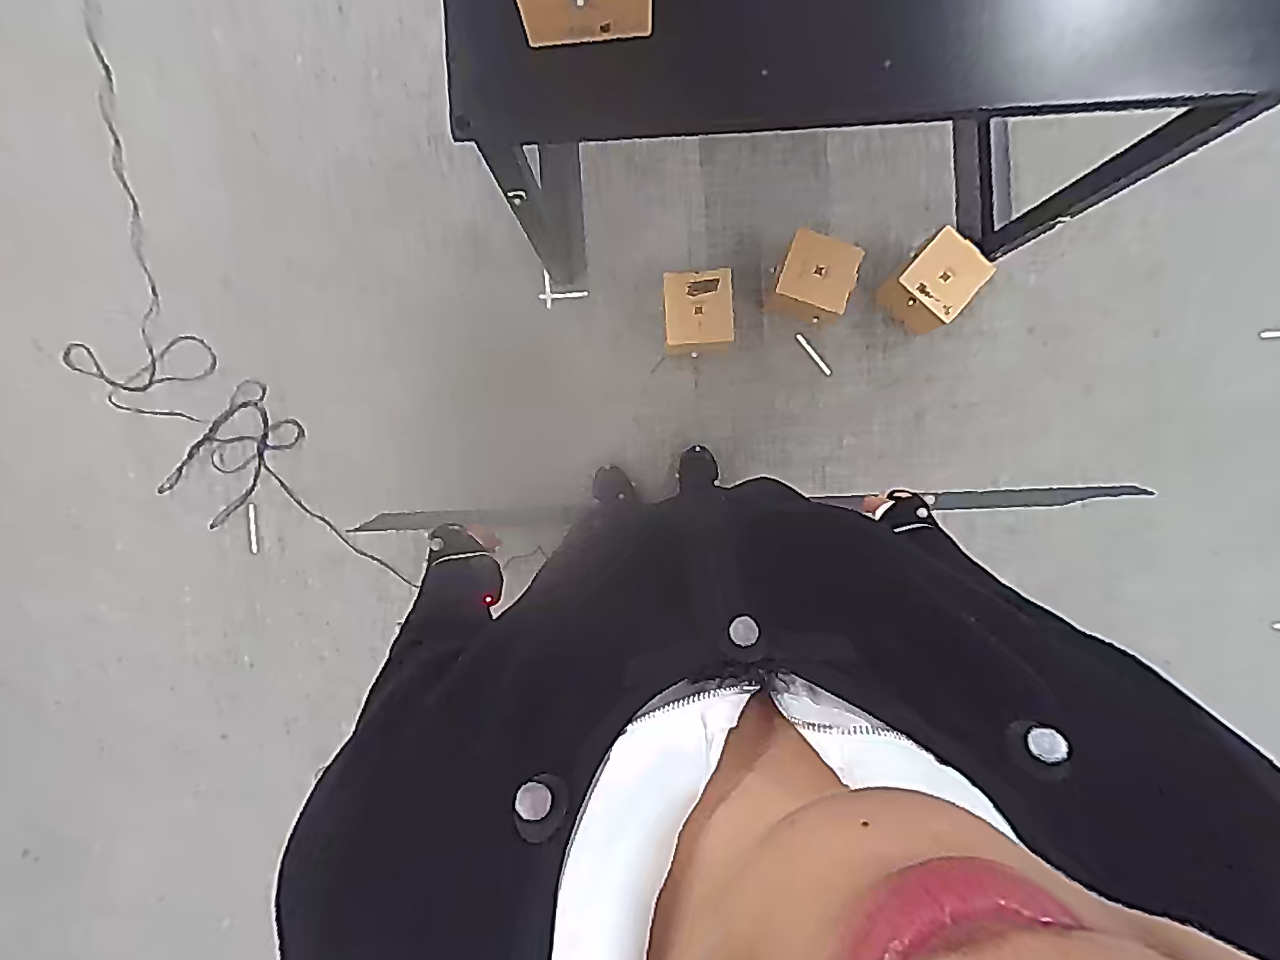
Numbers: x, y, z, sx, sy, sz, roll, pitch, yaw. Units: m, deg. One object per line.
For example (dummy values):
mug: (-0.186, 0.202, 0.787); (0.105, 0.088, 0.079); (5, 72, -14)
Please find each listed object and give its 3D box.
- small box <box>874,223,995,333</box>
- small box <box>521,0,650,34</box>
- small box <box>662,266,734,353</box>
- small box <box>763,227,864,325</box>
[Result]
small box: (0.737, -0.503, 1.376); (0.168, 0.176, 0.179); (41, 93, -1)
small box: (-0.075, -0.678, 0.646); (0.168, 0.176, 0.179); (-5, 93, 0)
small box: (0.144, -0.432, 1.390); (0.168, 0.176, 0.179); (-4, 95, 1)
small box: (0.434, -0.512, 1.383); (0.179, 0.176, 0.168); (18, 93, 1)
